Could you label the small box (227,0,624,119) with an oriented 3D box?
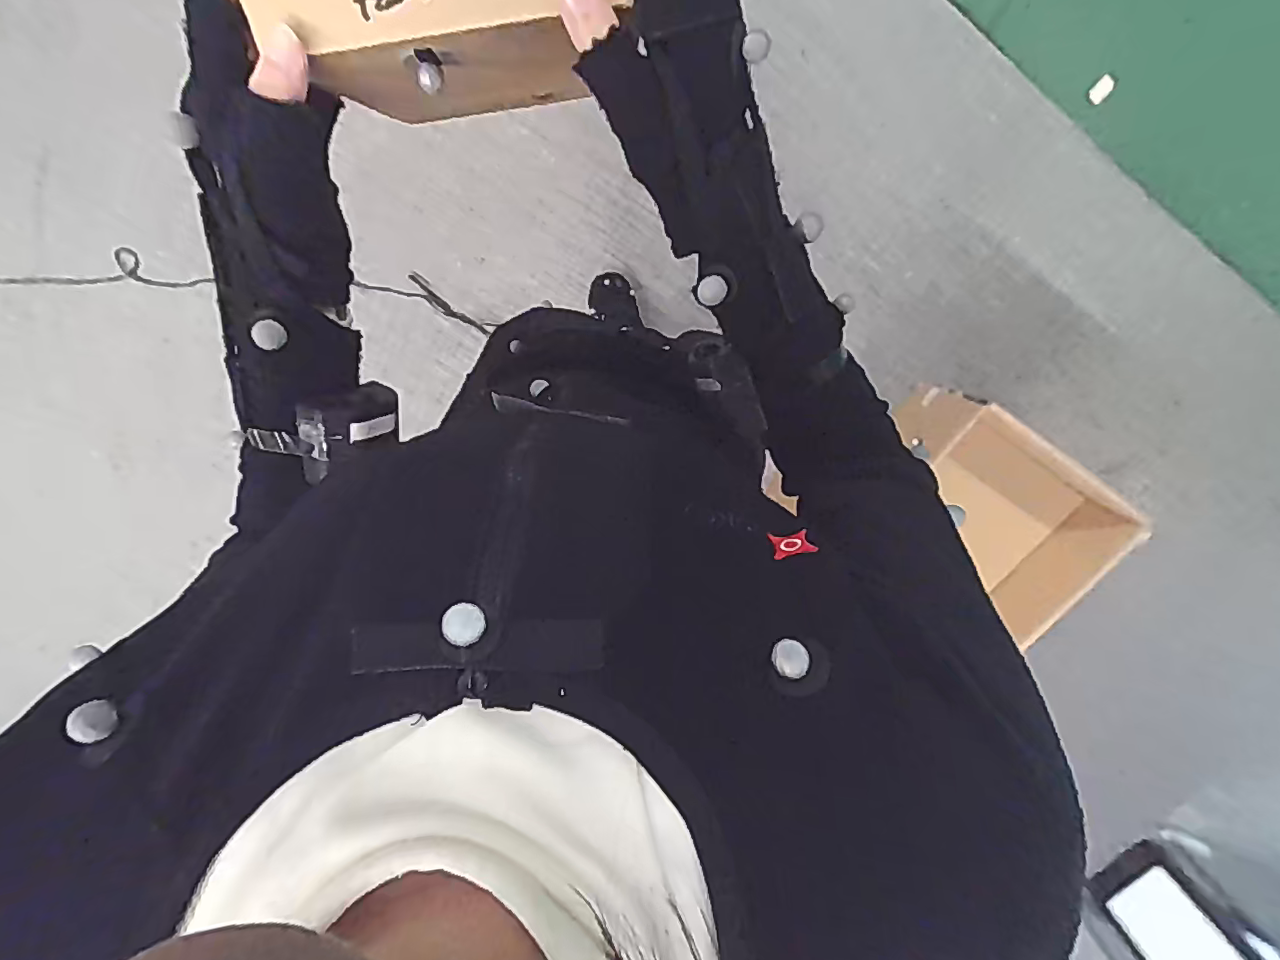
[{"bbox_3d":[-0.101,-0.306,0.265,0.168,0.176,0.179,-8,115,3],"label":"small box"}]
